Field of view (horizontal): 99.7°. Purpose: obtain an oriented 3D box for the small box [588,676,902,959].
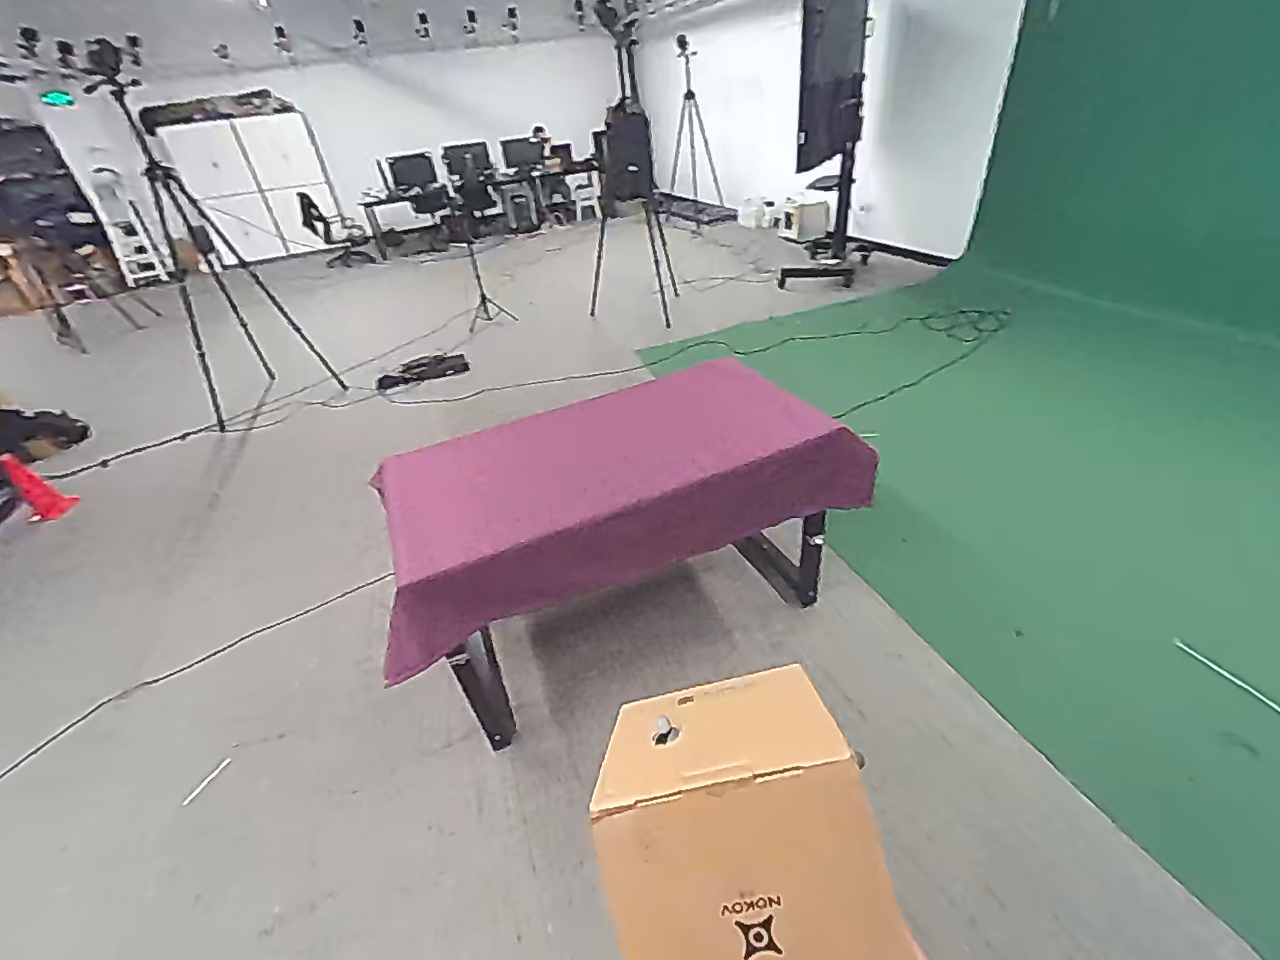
[{"bbox_3d":[0.072,0.263,0.403,0.168,0.179,0.176,-15,-2,6],"label":"small box"}]
